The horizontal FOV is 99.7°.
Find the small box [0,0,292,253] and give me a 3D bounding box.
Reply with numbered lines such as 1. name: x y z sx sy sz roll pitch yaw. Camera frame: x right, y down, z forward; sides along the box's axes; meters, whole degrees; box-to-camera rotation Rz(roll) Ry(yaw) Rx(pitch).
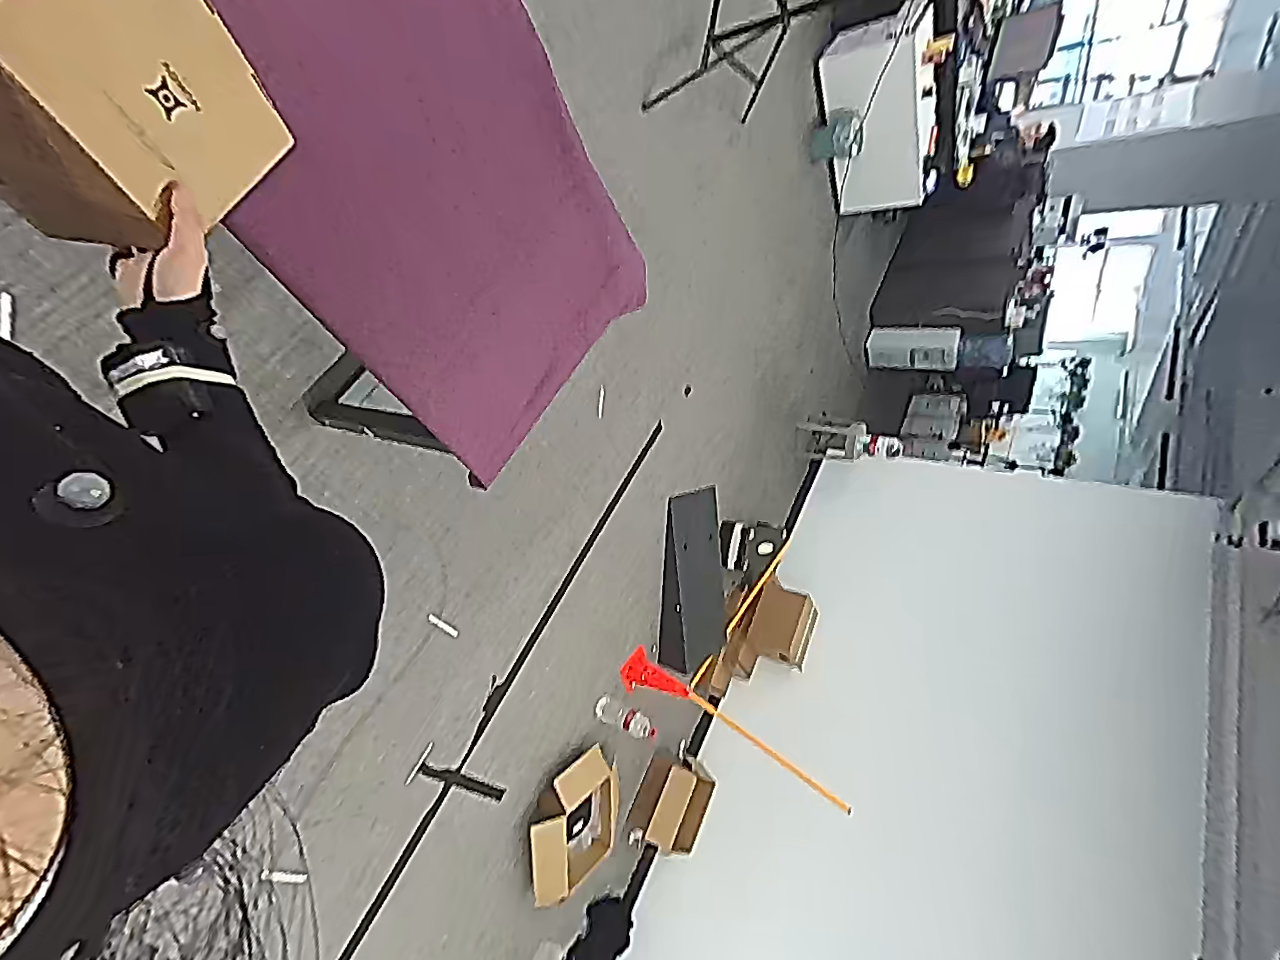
1. small box: -0.452 -0.318 0.447 0.168 0.176 0.179 77 27 -59
